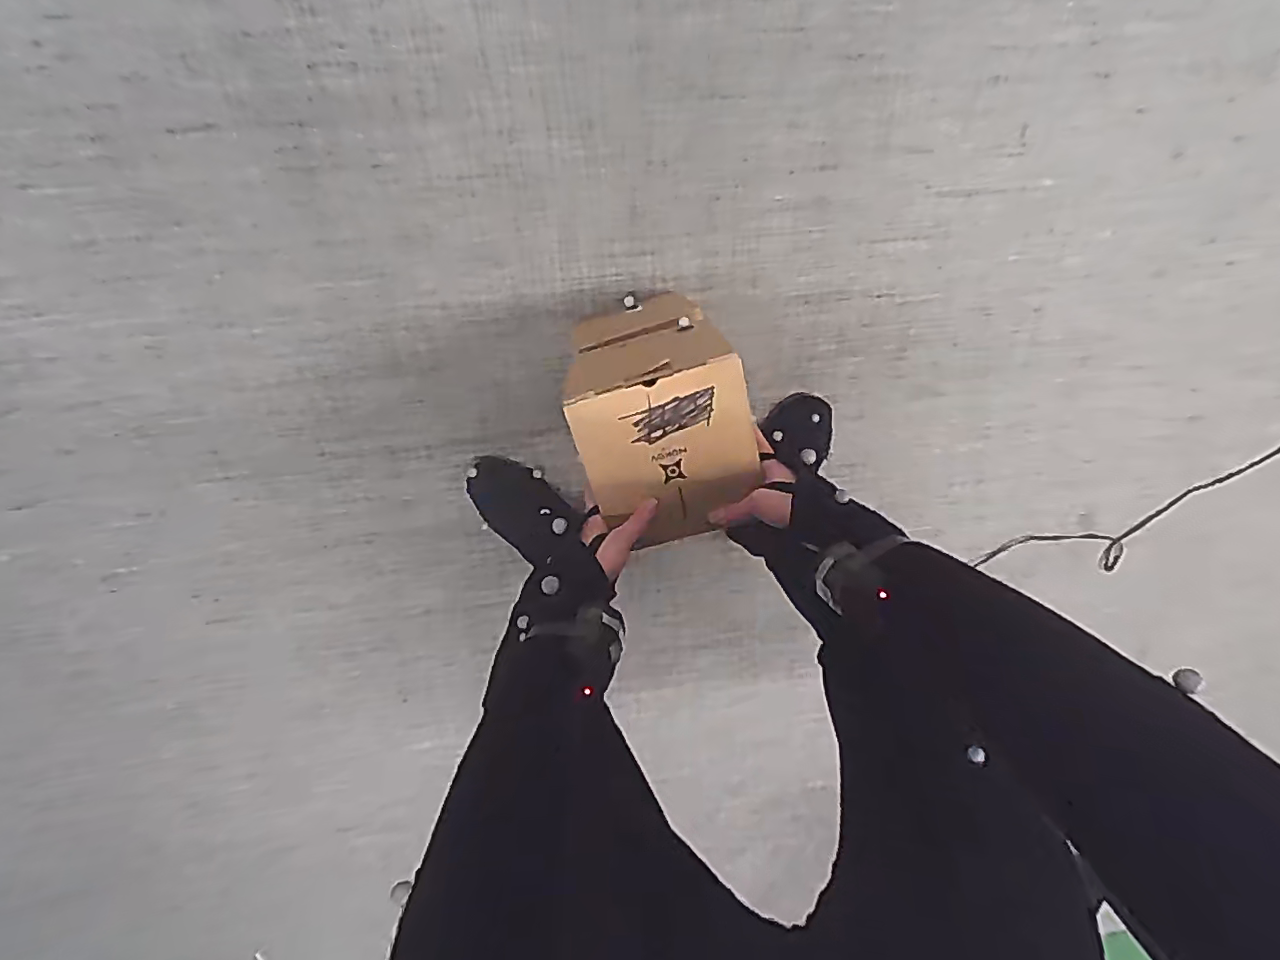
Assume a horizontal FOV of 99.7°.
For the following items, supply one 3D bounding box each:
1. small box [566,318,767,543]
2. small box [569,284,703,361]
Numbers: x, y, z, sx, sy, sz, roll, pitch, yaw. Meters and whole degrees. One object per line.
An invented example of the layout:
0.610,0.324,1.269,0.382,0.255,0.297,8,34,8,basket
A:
0.027,-0.064,0.589,0.168,0.176,0.179,-14,119,6,small box
0.007,-0.154,0.755,0.168,0.176,0.179,-19,118,1,small box
